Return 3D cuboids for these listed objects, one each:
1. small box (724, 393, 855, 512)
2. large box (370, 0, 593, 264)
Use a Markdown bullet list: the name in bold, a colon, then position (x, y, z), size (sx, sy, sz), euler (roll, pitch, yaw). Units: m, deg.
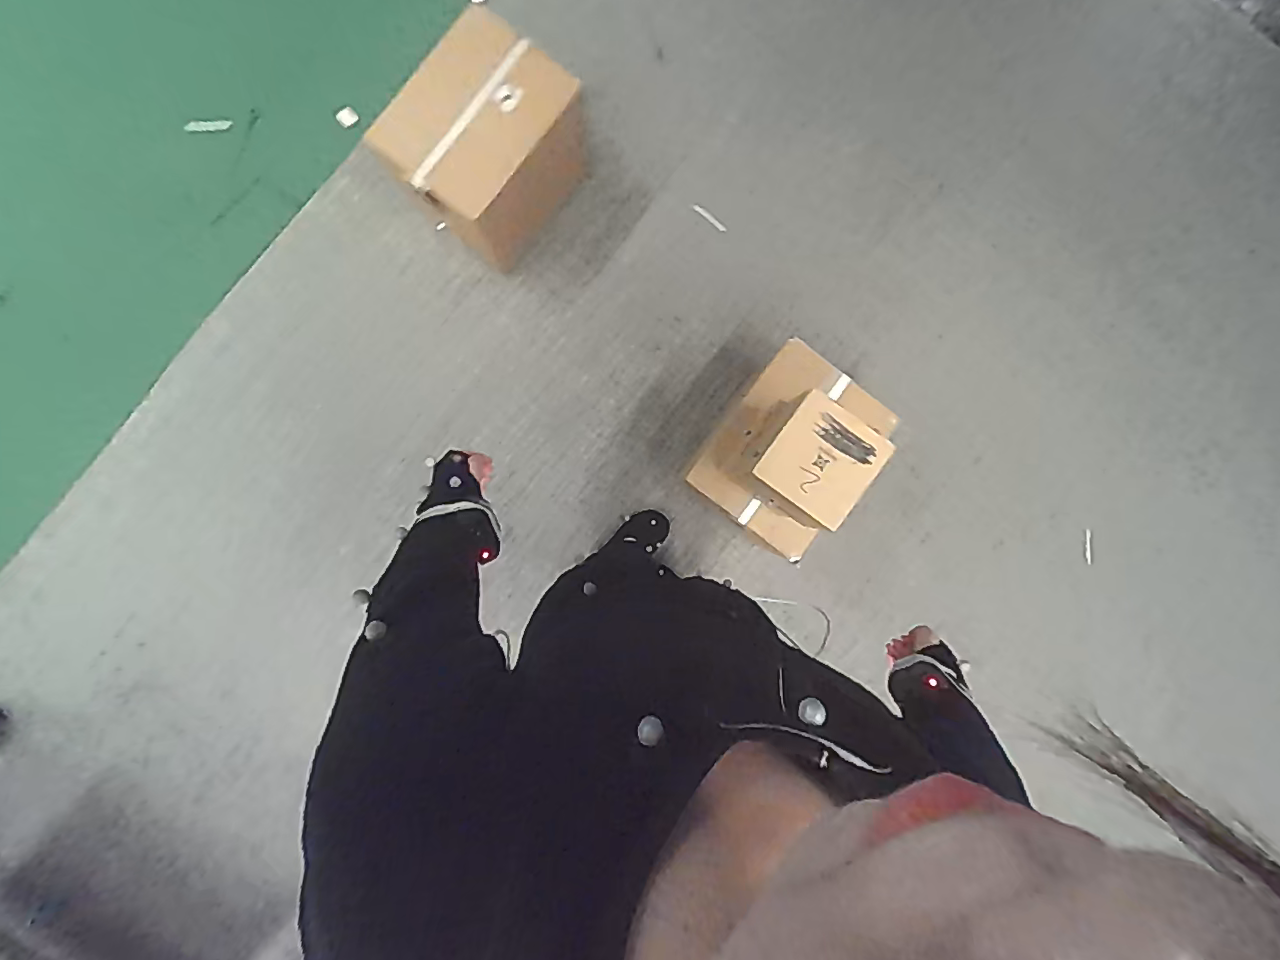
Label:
- **small box**: position (0.296, -0.054, 1.109), size (0.179, 0.176, 0.168), euler (36, 89, 1)
- **large box**: position (-0.361, -0.836, 1.337), size (0.320, 0.320, 0.408), euler (38, 88, -1)
